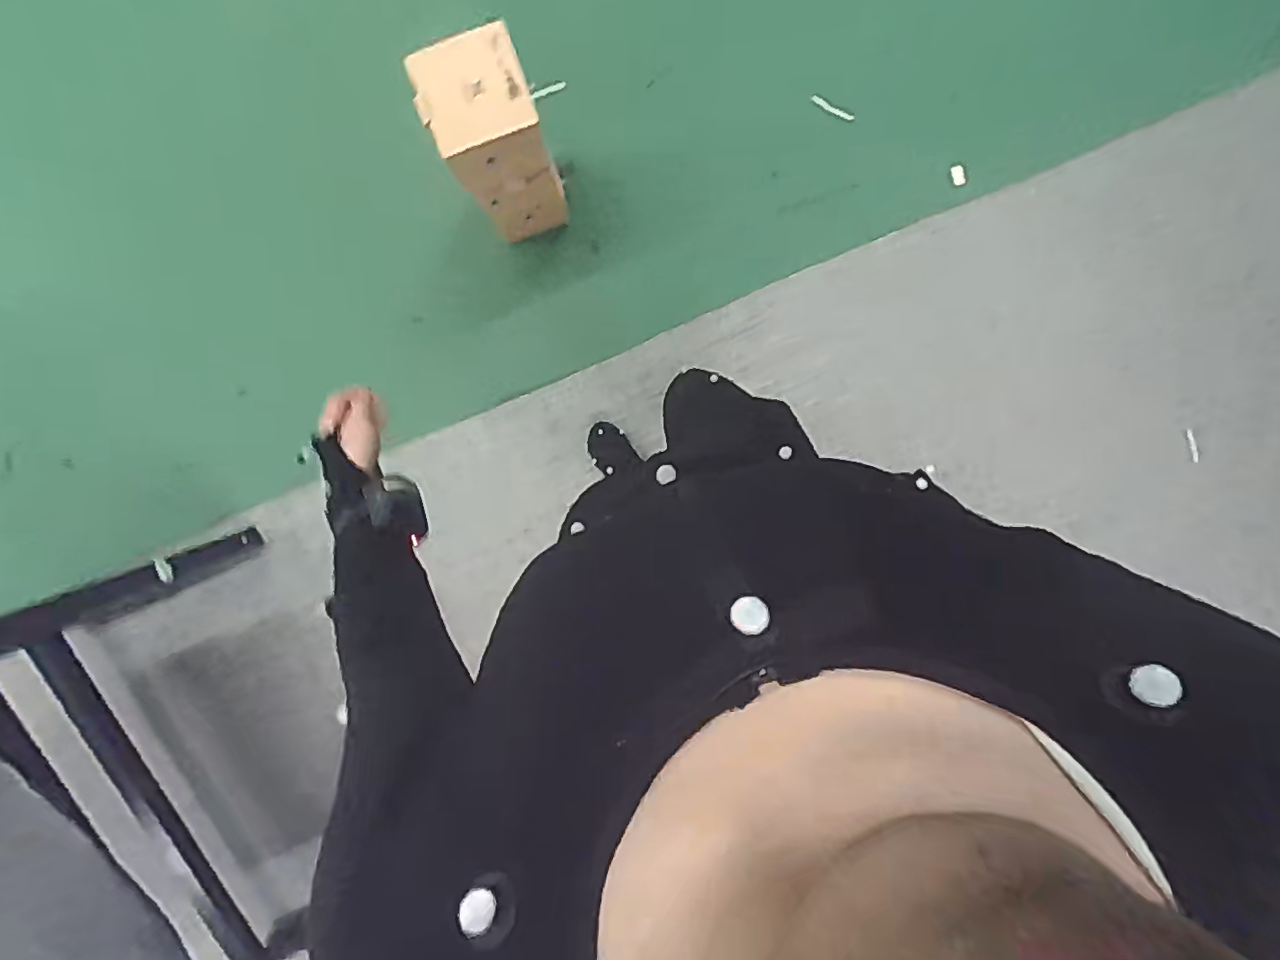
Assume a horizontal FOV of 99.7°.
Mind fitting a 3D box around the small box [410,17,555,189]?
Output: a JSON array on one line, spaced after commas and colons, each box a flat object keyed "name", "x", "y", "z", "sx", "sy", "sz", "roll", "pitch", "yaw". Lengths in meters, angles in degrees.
[{"name": "small box", "x": -0.267, "y": -0.649, "z": 0.958, "sx": 0.179, "sy": 0.176, "sz": 0.168, "roll": -20, "pitch": 98, "yaw": 1}]

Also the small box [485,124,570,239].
[{"name": "small box", "x": -0.271, "y": -0.700, "z": 1.283, "sx": 0.179, "sy": 0.176, "sz": 0.168, "roll": -19, "pitch": 99, "yaw": 1}]
